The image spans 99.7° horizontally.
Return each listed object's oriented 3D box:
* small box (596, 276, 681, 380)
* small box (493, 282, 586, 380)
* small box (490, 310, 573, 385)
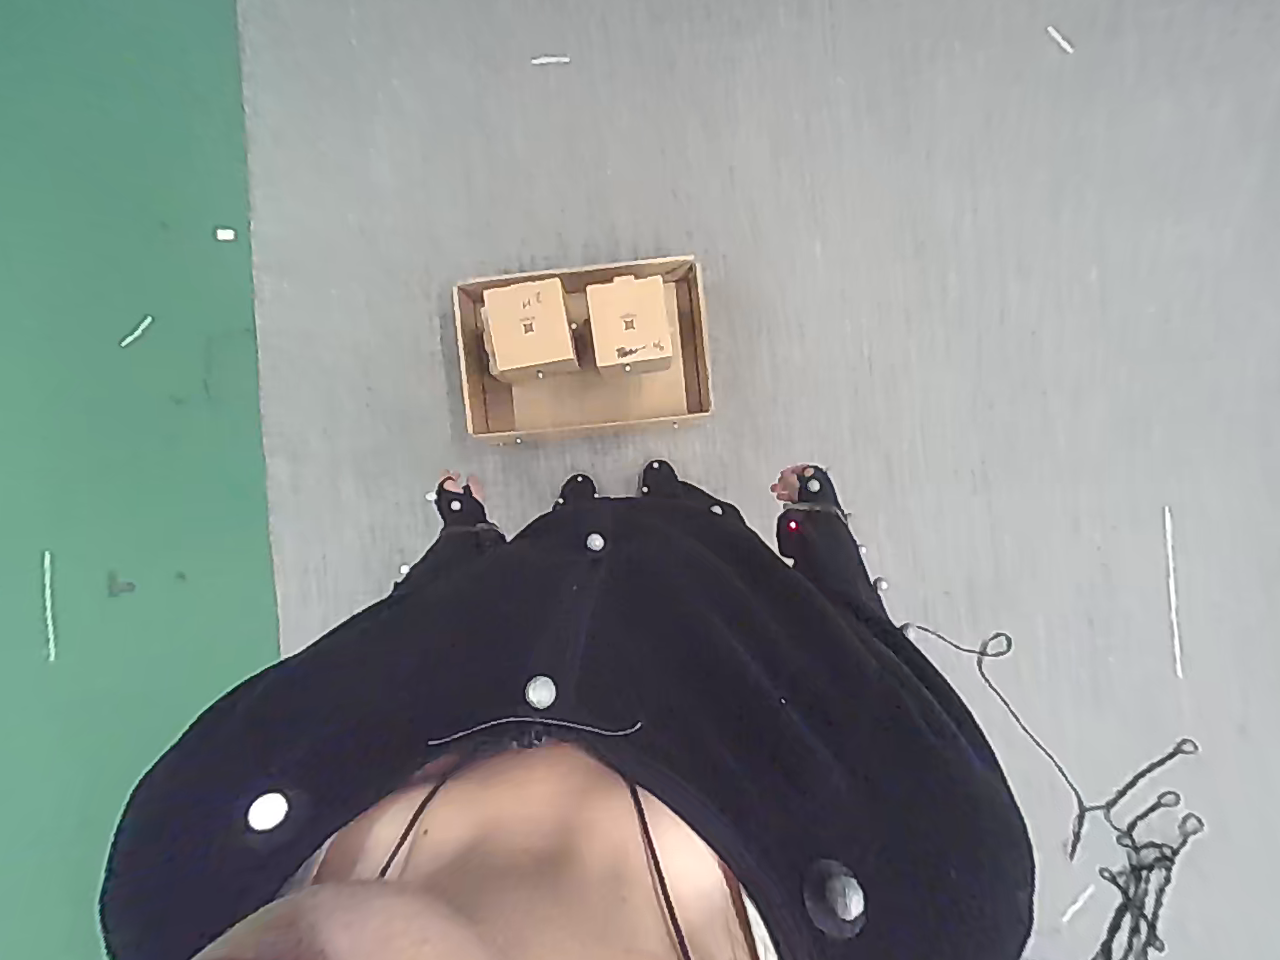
[{"bbox_3d":[-0.002,-0.337,1.227,0.168,0.176,0.179,-8,91,3],"label":"small box"},{"bbox_3d":[-0.221,-0.330,1.235,0.168,0.176,0.179,-10,92,-1],"label":"small box"},{"bbox_3d":[-0.269,-0.347,1.398,0.179,0.176,0.168,-9,92,0],"label":"small box"}]
